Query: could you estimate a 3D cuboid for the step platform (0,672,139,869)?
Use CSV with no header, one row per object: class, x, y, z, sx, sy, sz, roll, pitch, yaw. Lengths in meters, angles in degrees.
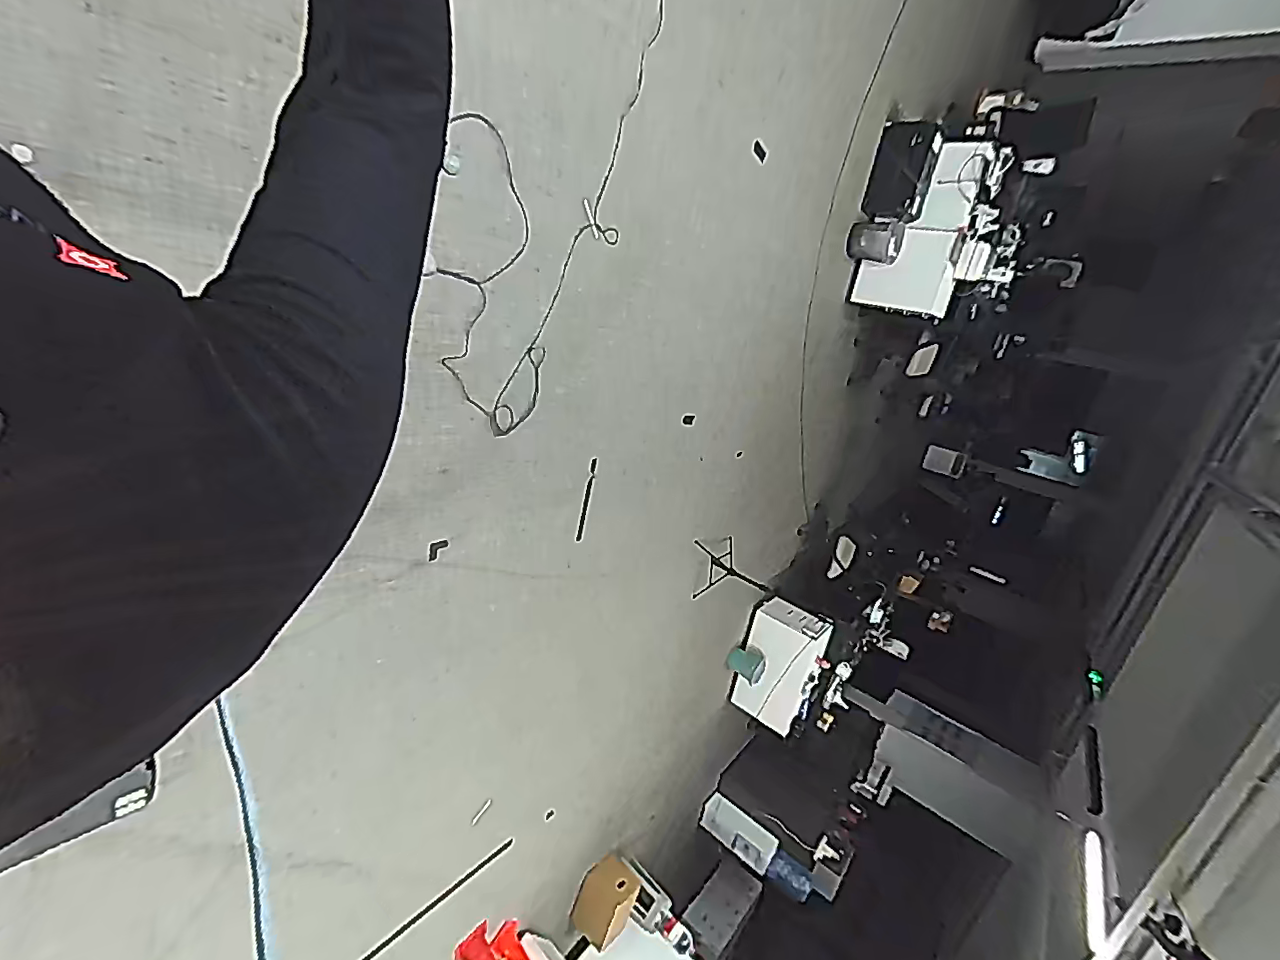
step platform,-1.395,0.646,1.003,0.684,0.204,0.286,-14,121,-48
